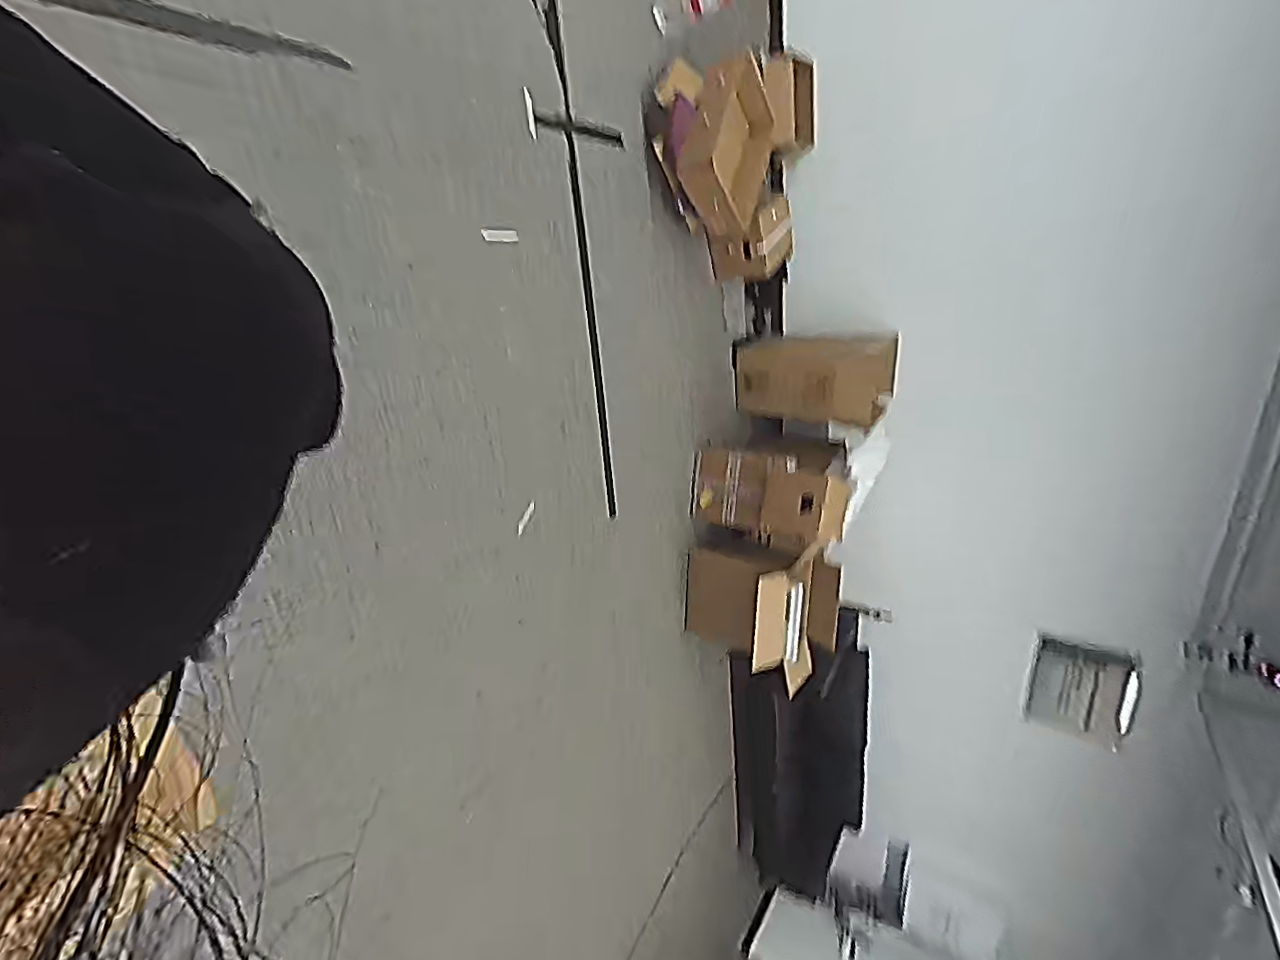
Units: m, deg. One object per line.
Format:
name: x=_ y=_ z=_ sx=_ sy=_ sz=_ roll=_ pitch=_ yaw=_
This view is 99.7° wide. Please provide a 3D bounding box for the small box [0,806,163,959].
small box: x=-1.133 y=0.809 z=1.092 sx=0.179 sy=0.176 sz=0.168 roll=-39 pitch=127 yaw=-46
